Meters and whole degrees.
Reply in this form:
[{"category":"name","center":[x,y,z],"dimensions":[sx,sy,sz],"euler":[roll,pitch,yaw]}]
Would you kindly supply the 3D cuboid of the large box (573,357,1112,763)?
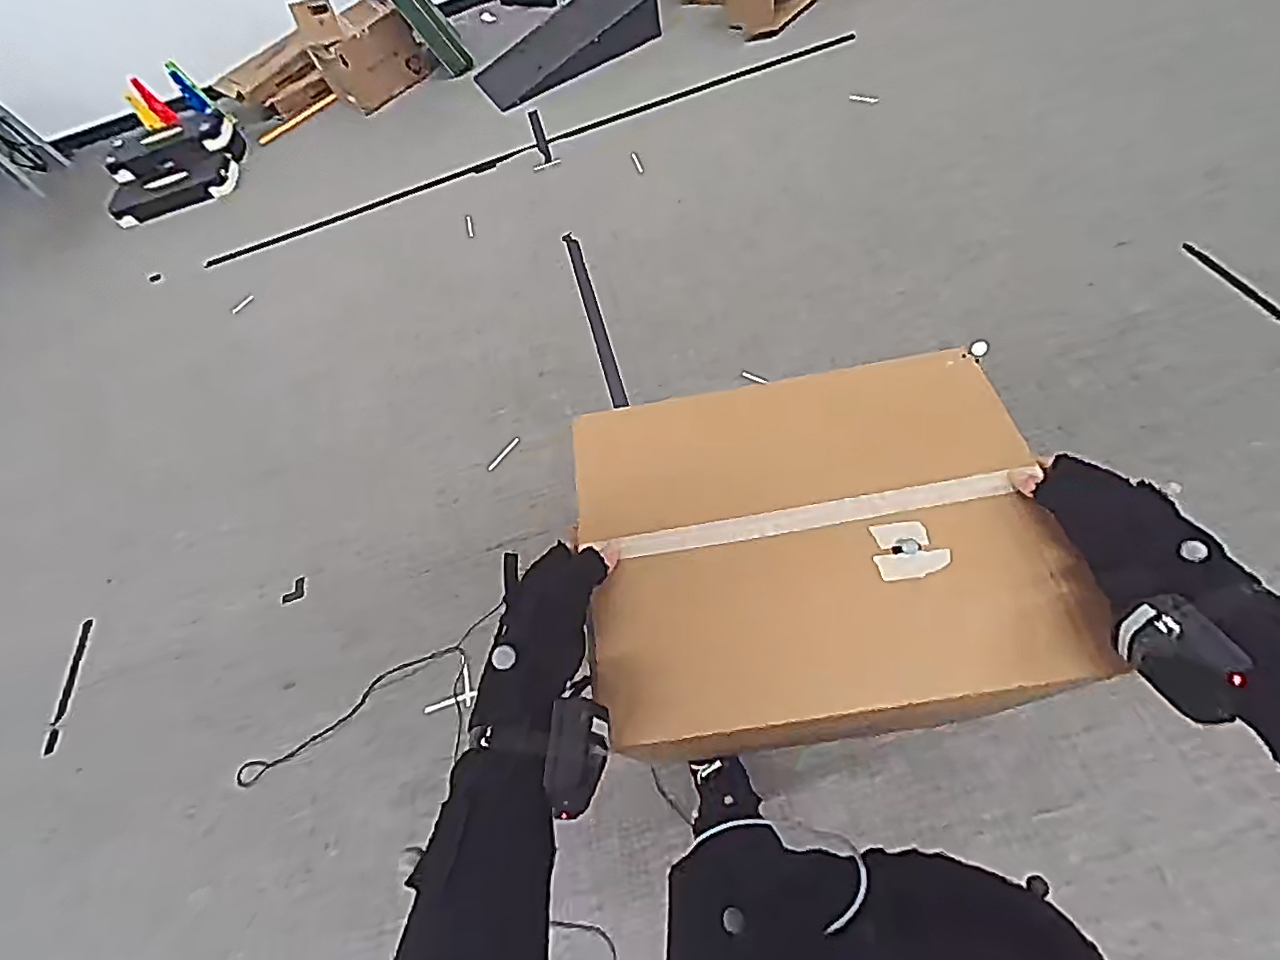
[{"category":"large box","center":[0.160,0.111,0.616],"dimensions":[0.408,0.320,0.320],"euler":[-10,60,2]}]
